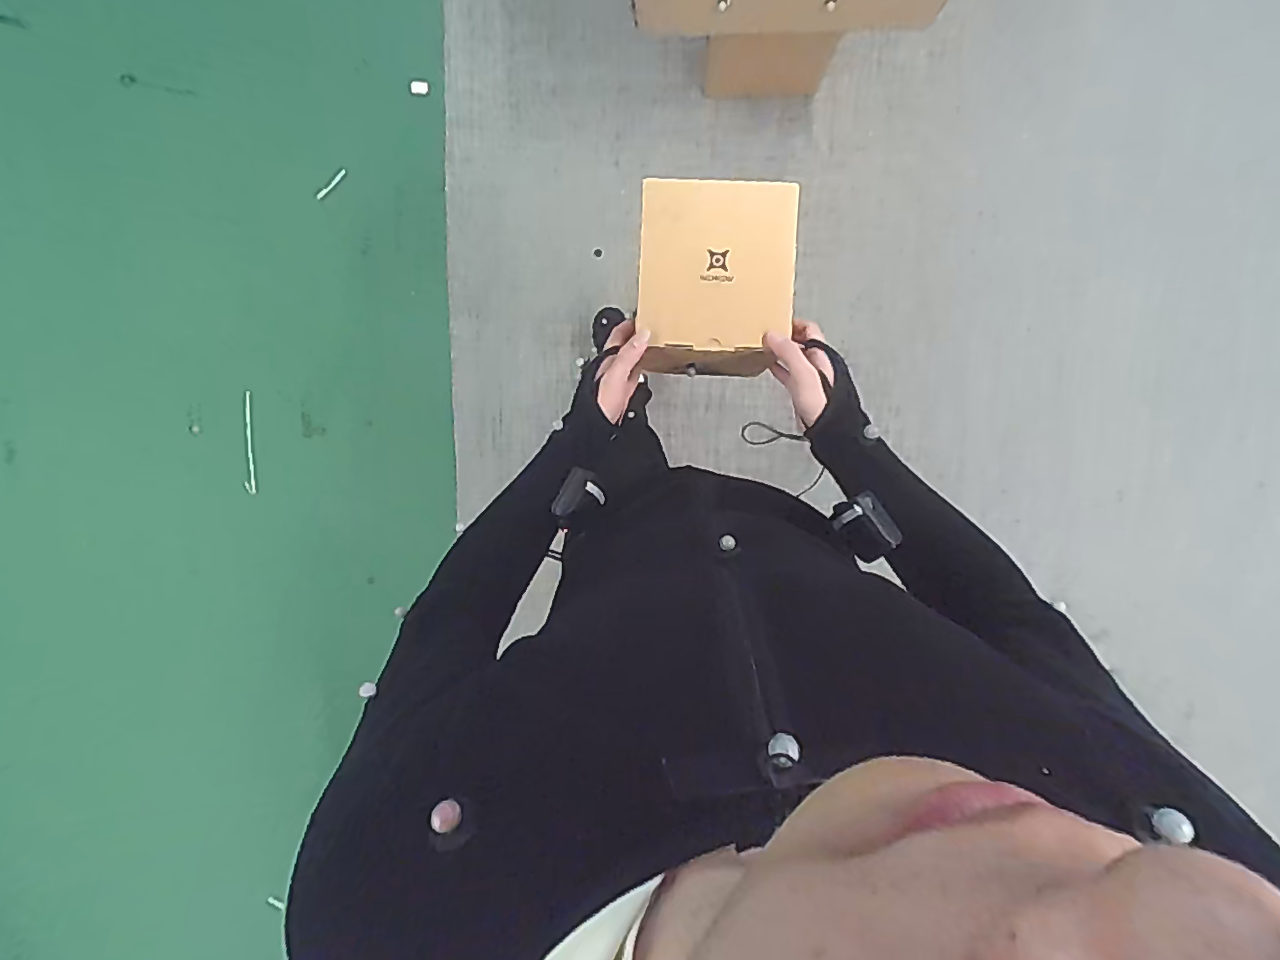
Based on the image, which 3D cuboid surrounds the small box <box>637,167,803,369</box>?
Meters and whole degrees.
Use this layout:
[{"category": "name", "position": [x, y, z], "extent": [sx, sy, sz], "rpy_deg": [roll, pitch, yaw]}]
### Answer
[{"category": "small box", "position": [0.083, -0.237, 0.643], "extent": [0.168, 0.176, 0.179], "rpy_deg": [3, 93, -1]}]
